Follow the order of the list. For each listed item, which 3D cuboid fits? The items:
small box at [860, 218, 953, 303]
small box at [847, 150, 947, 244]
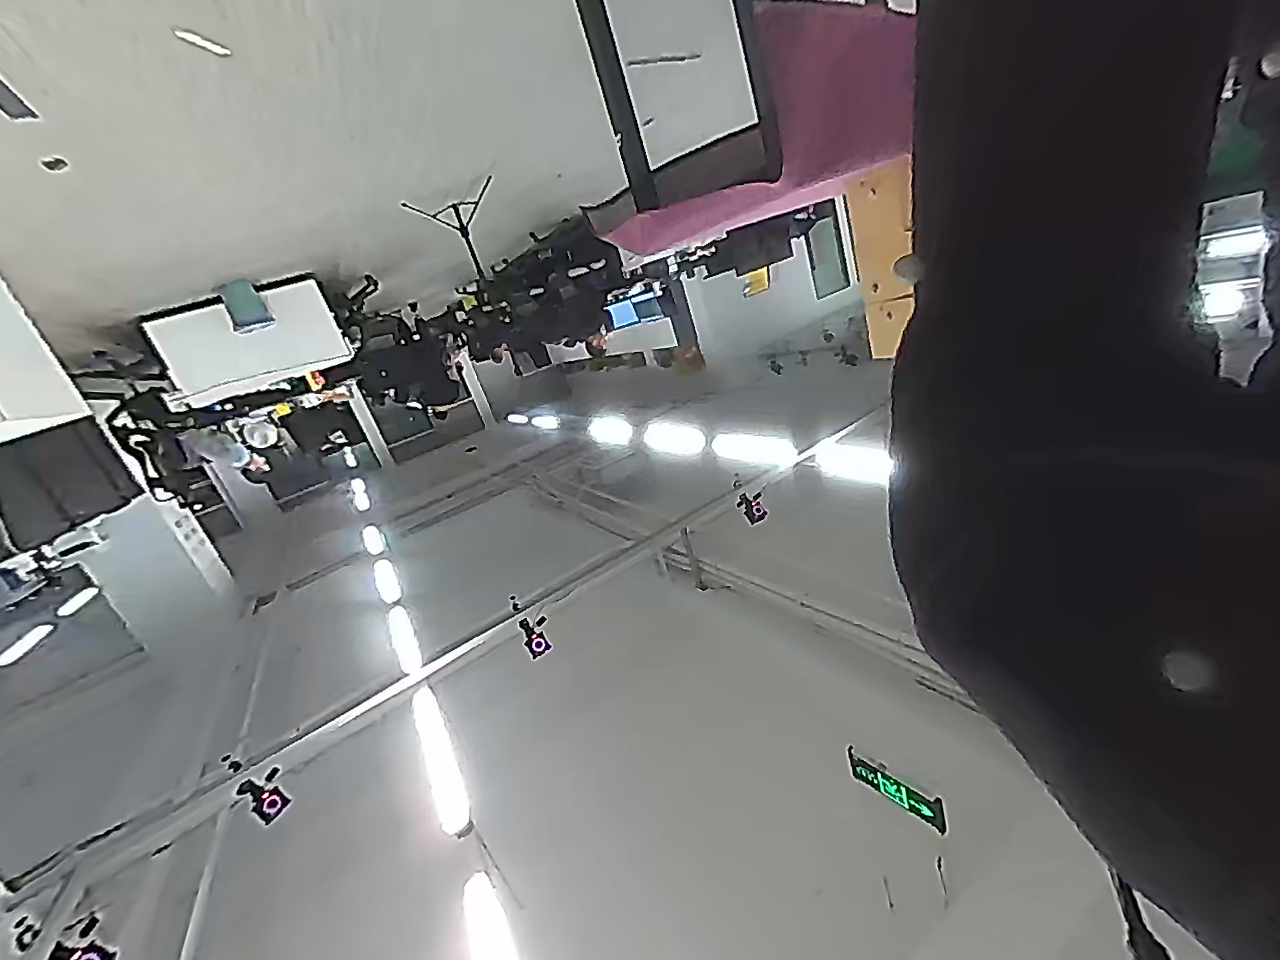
[{"bbox_3d":[0.734,-0.609,1.501,0.168,0.176,0.179,-29,-159,-25],"label":"small box"},{"bbox_3d":[0.685,-0.756,1.445,0.179,0.176,0.168,-25,-161,-20],"label":"small box"}]
